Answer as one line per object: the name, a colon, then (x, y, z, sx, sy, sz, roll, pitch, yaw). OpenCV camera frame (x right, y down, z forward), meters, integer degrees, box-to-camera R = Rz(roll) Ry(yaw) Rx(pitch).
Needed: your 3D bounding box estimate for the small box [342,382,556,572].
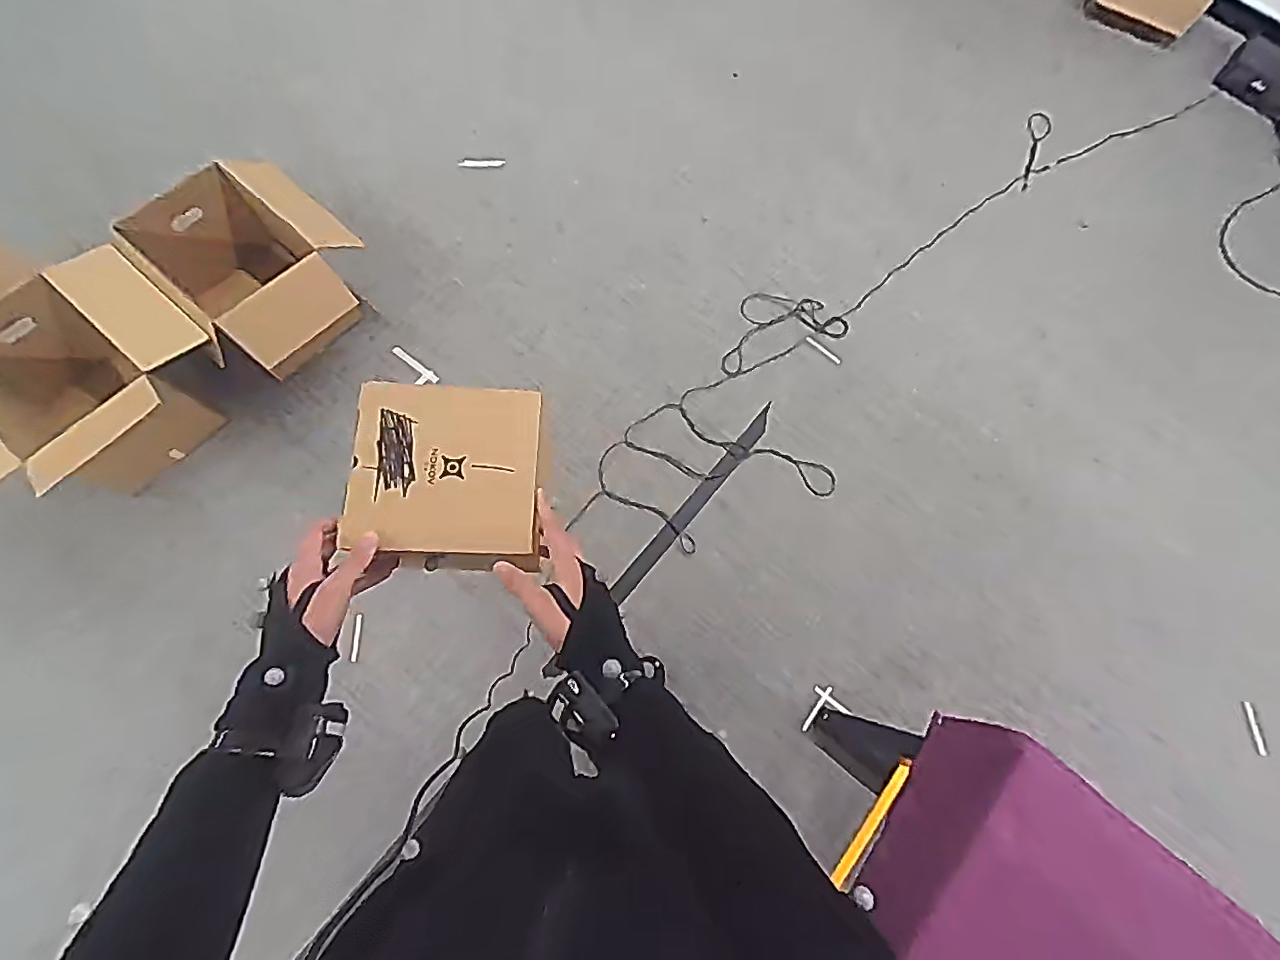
small box: (-0.188, 0.008, 0.589, 0.179, 0.176, 0.168, 3, 74, -6)

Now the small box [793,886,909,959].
small box: (0.441, 1.008, 1.122, 0.168, 0.176, 0.179, 38, 75, 7)
